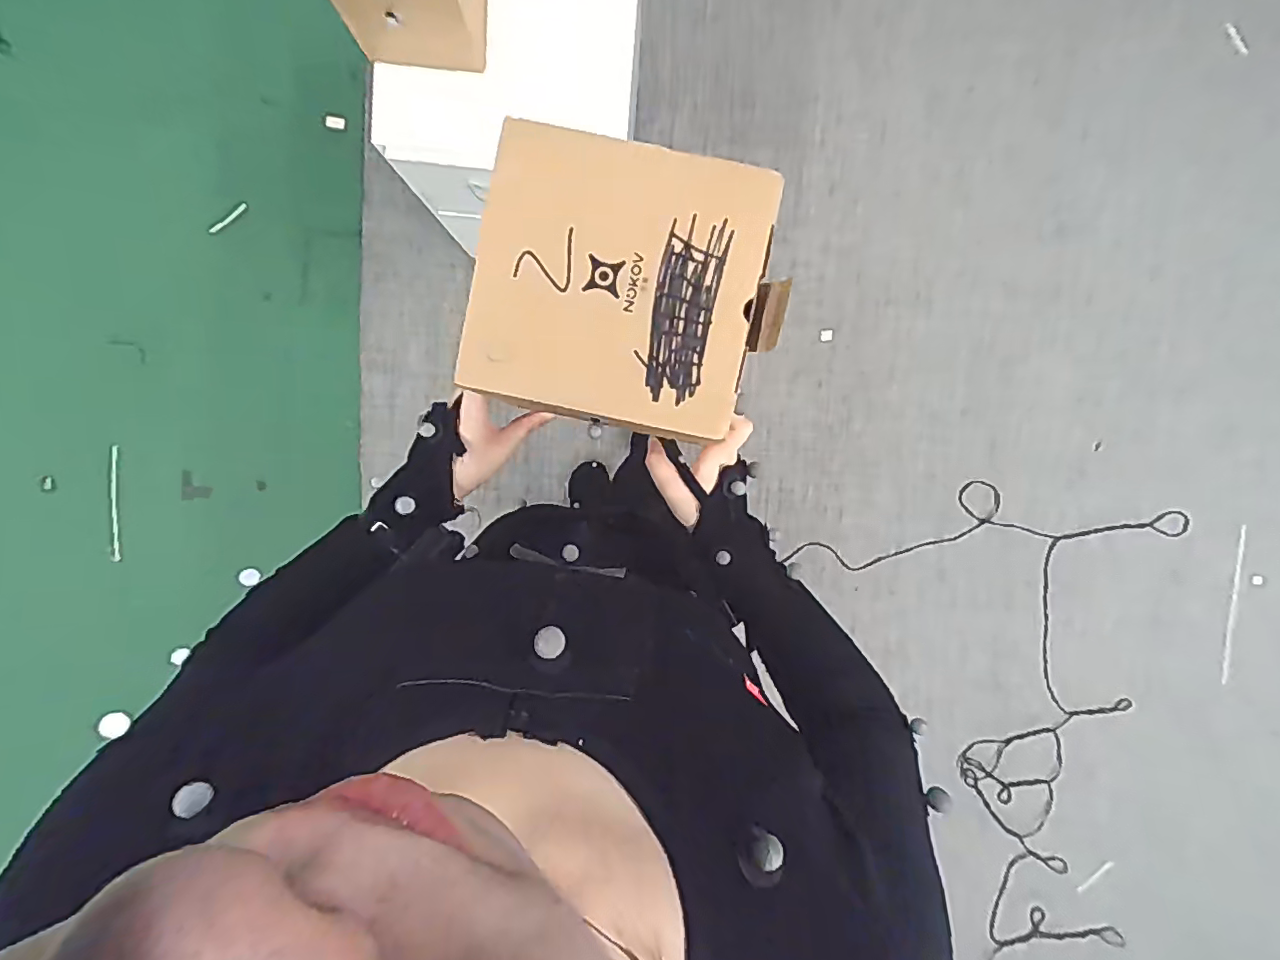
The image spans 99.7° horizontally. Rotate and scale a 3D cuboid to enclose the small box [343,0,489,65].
[{"bbox_3d":[-0.315,-0.712,0.740,0.179,0.176,0.168,4,95,-3],"label":"small box"}]
